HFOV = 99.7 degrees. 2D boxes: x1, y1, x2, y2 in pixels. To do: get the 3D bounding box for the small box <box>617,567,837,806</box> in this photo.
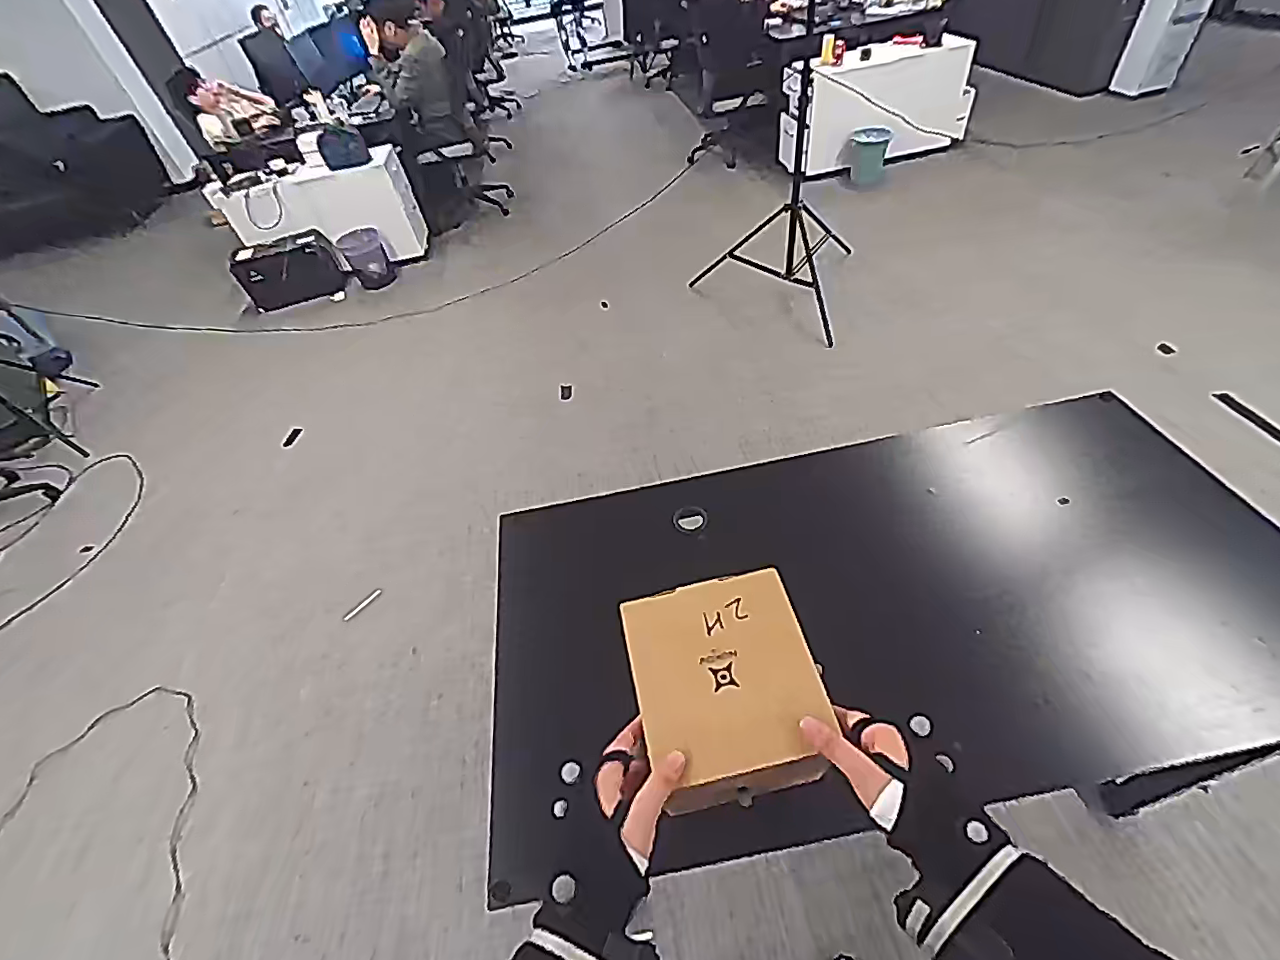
[{"bbox_3d":[0.082,0.222,0.562,0.168,0.176,0.179,-14,52,-2],"label":"small box"}]
